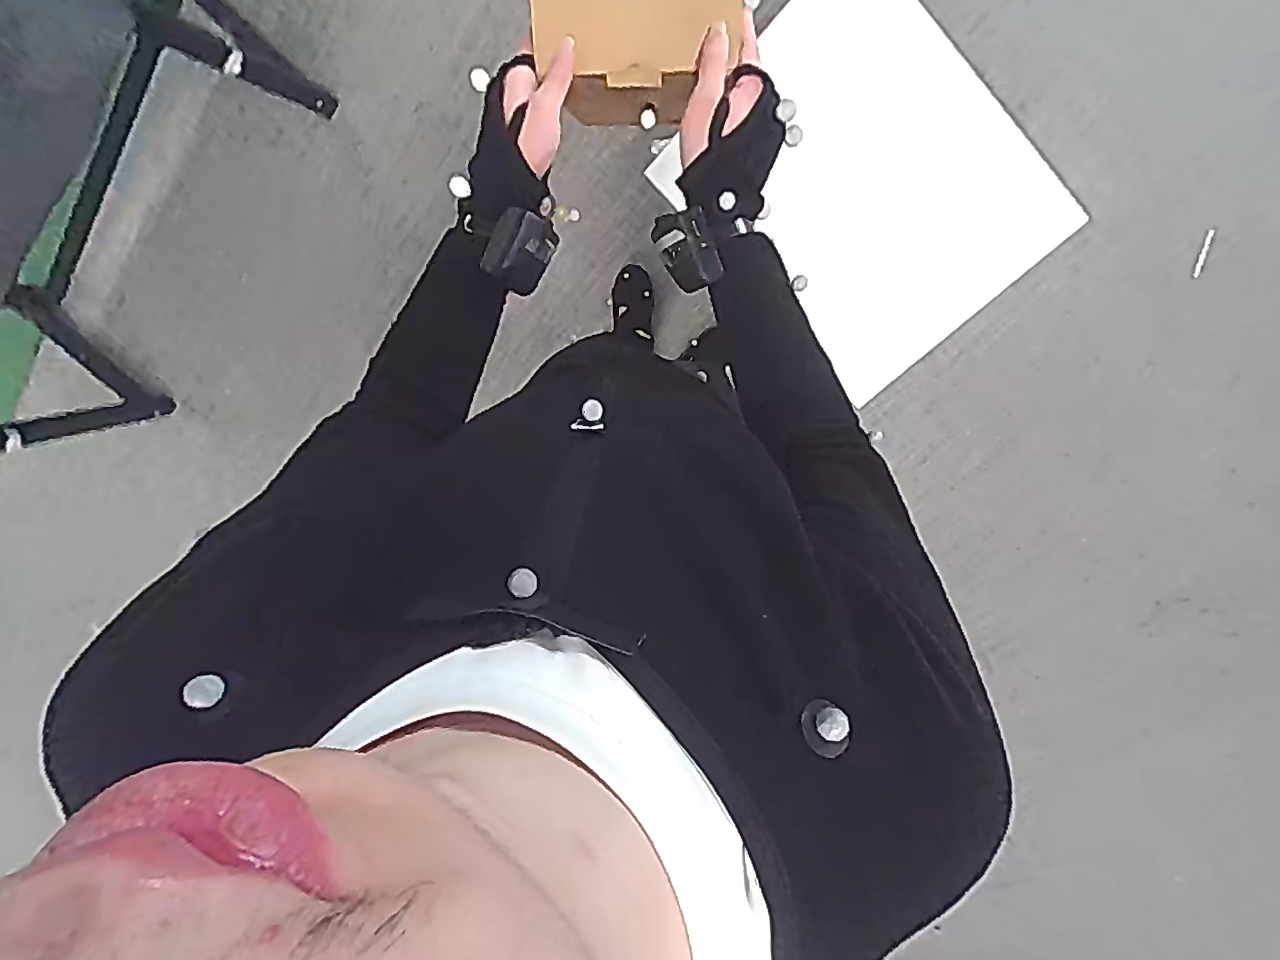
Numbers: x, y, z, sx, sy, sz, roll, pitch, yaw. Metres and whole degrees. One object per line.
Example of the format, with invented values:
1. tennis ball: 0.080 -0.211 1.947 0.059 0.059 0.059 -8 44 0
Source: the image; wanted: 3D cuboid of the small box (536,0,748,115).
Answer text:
1. small box: 0.011 -0.438 0.472 0.168 0.176 0.179 2 112 9
